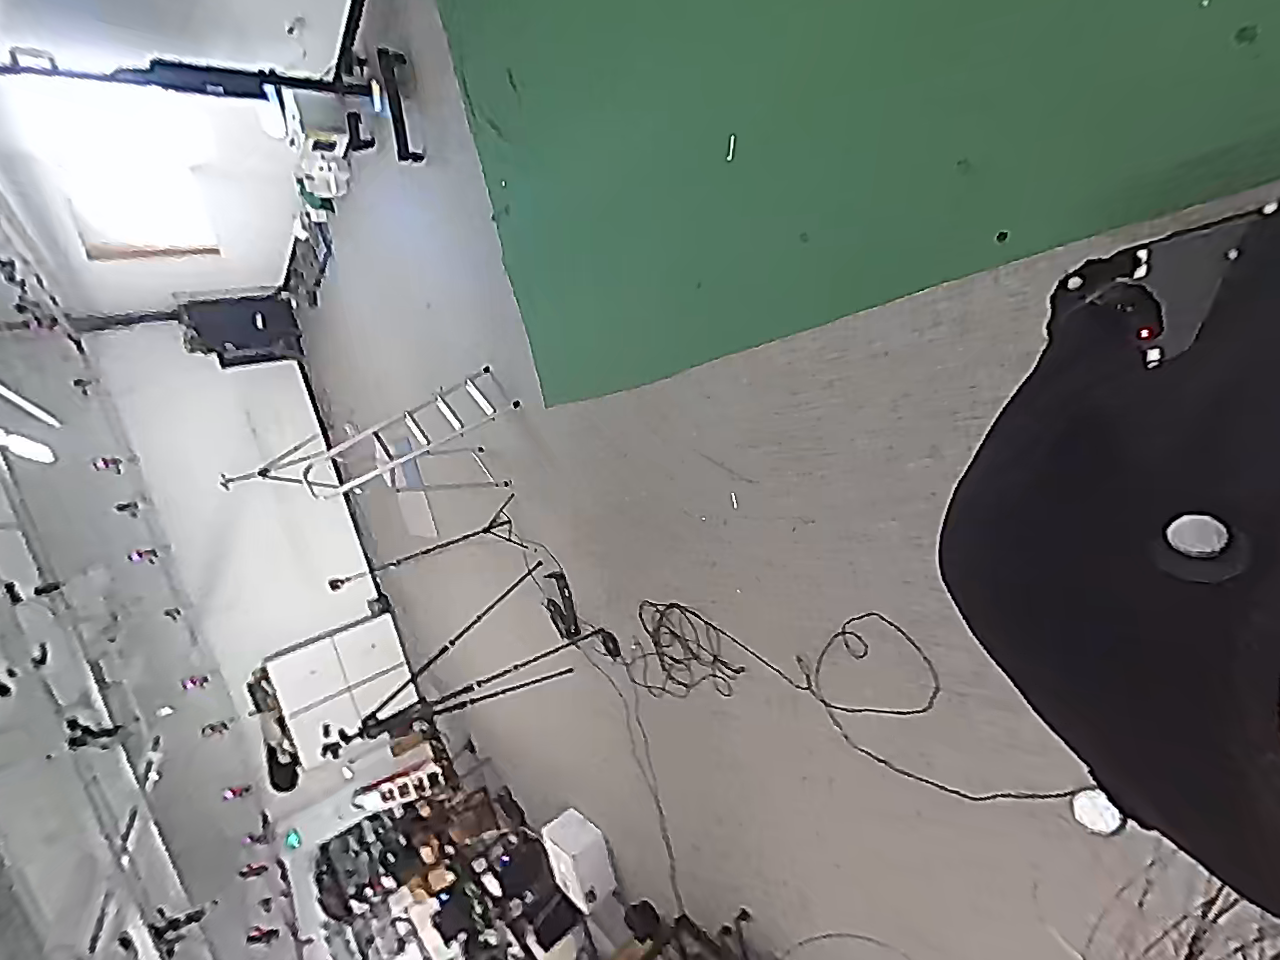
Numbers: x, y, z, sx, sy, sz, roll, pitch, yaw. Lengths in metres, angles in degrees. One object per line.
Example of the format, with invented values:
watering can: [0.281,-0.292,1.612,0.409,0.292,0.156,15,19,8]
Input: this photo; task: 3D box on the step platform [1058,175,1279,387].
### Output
step platform: [1.090,-0.357,0.827,0.684,0.204,0.286,-6,102,53]
